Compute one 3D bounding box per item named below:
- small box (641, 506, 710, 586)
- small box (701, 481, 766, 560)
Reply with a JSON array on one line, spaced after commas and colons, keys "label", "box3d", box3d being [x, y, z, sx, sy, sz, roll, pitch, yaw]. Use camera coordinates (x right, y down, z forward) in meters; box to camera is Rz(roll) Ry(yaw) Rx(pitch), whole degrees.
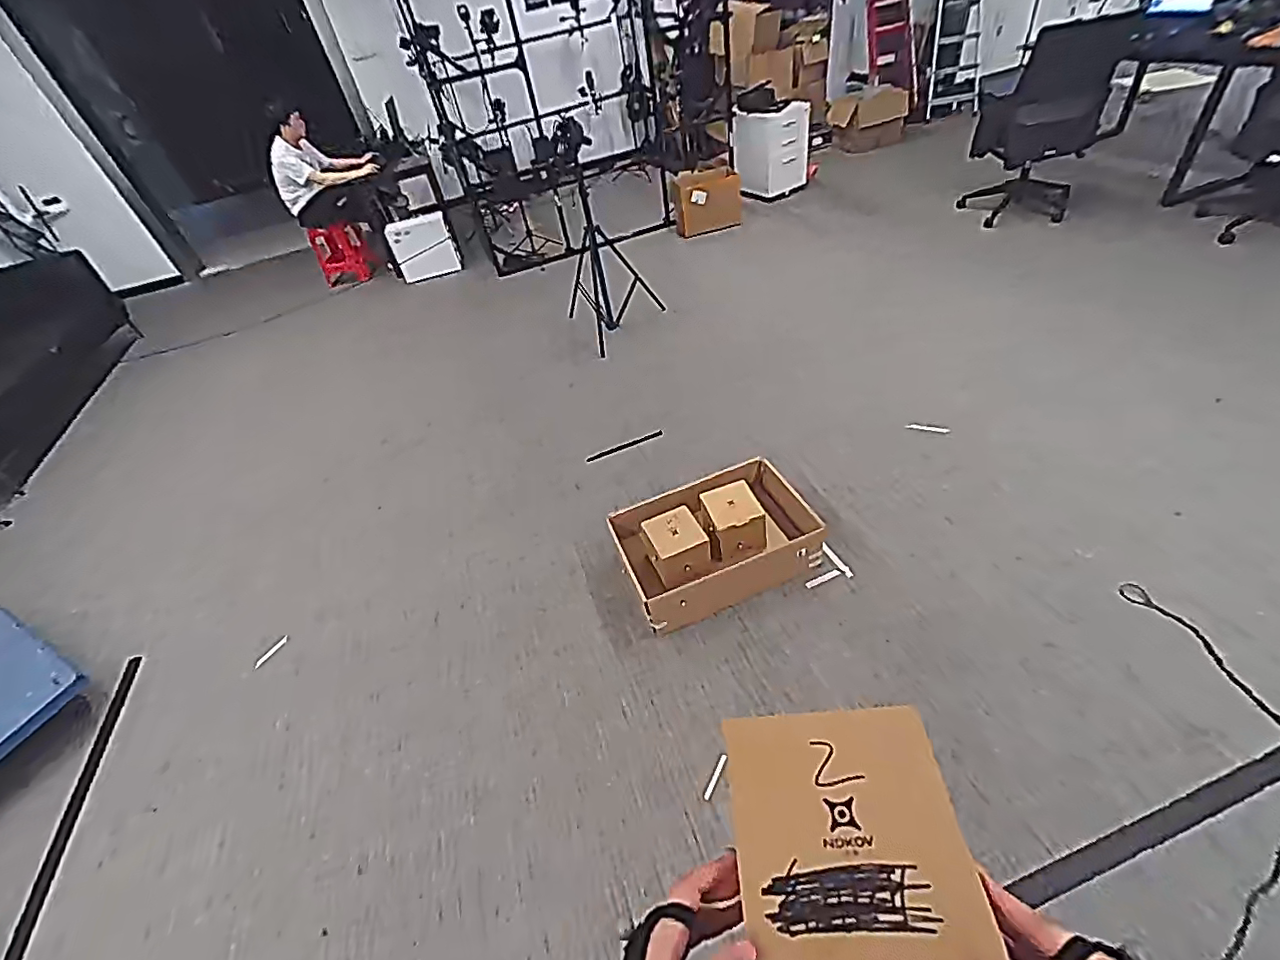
[{"label": "small box", "box3d": [0.121, 0.224, 1.780, 0.168, 0.176, 0.179, -21, 43, -11]}, {"label": "small box", "box3d": [0.315, 0.138, 1.830, 0.168, 0.176, 0.179, -18, 43, -5]}]
